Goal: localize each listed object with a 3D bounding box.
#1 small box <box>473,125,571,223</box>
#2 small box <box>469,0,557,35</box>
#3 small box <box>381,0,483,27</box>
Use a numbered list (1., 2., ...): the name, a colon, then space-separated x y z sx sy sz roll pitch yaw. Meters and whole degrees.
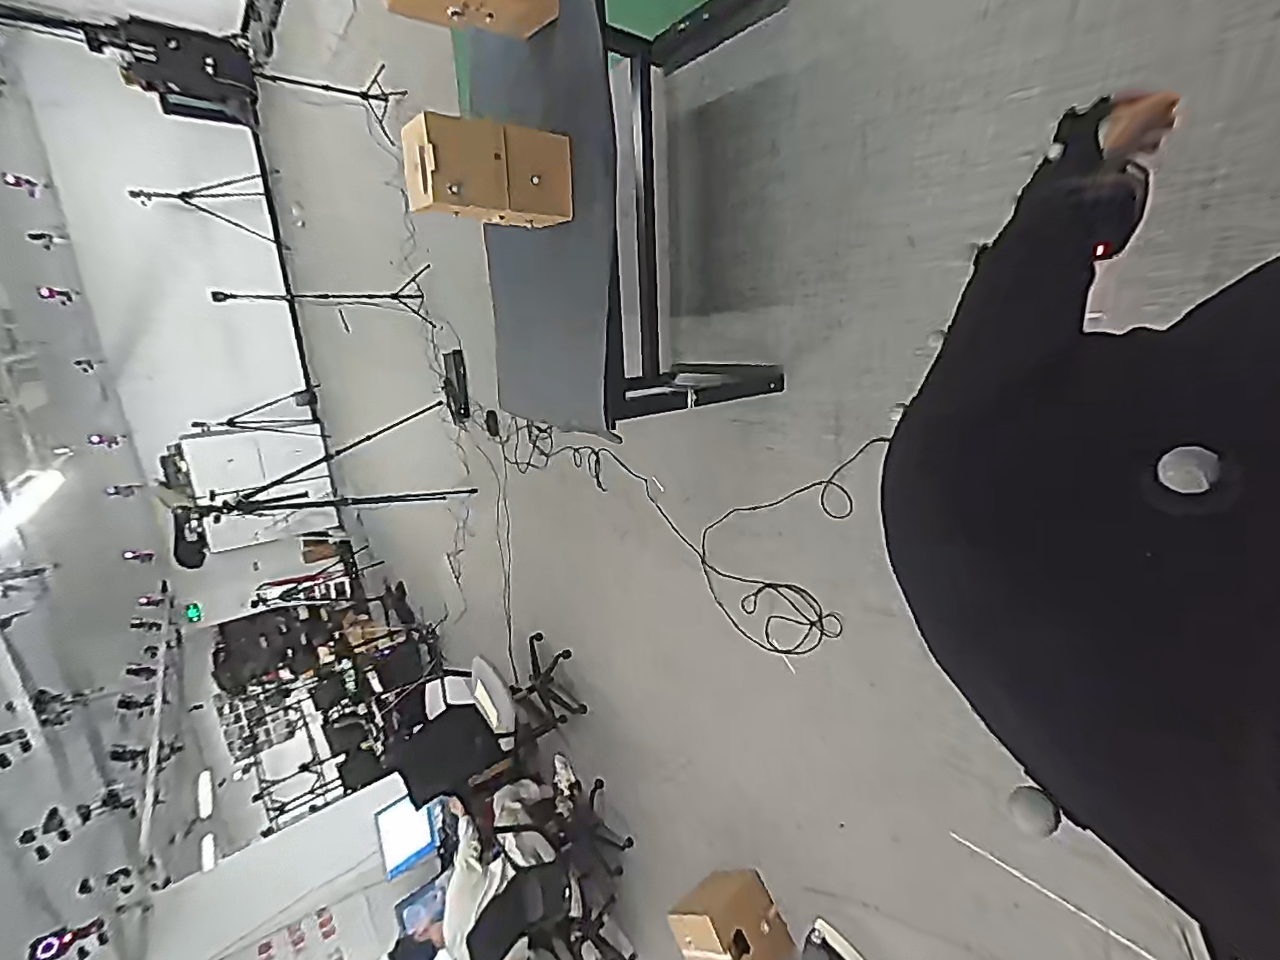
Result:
1. small box: -0.275 -0.711 1.279 0.168 0.176 0.179 20 118 49
2. small box: -0.294 -1.098 1.163 0.179 0.176 0.168 25 122 47
3. small box: -0.422 -1.054 1.073 0.168 0.176 0.179 16 116 53
